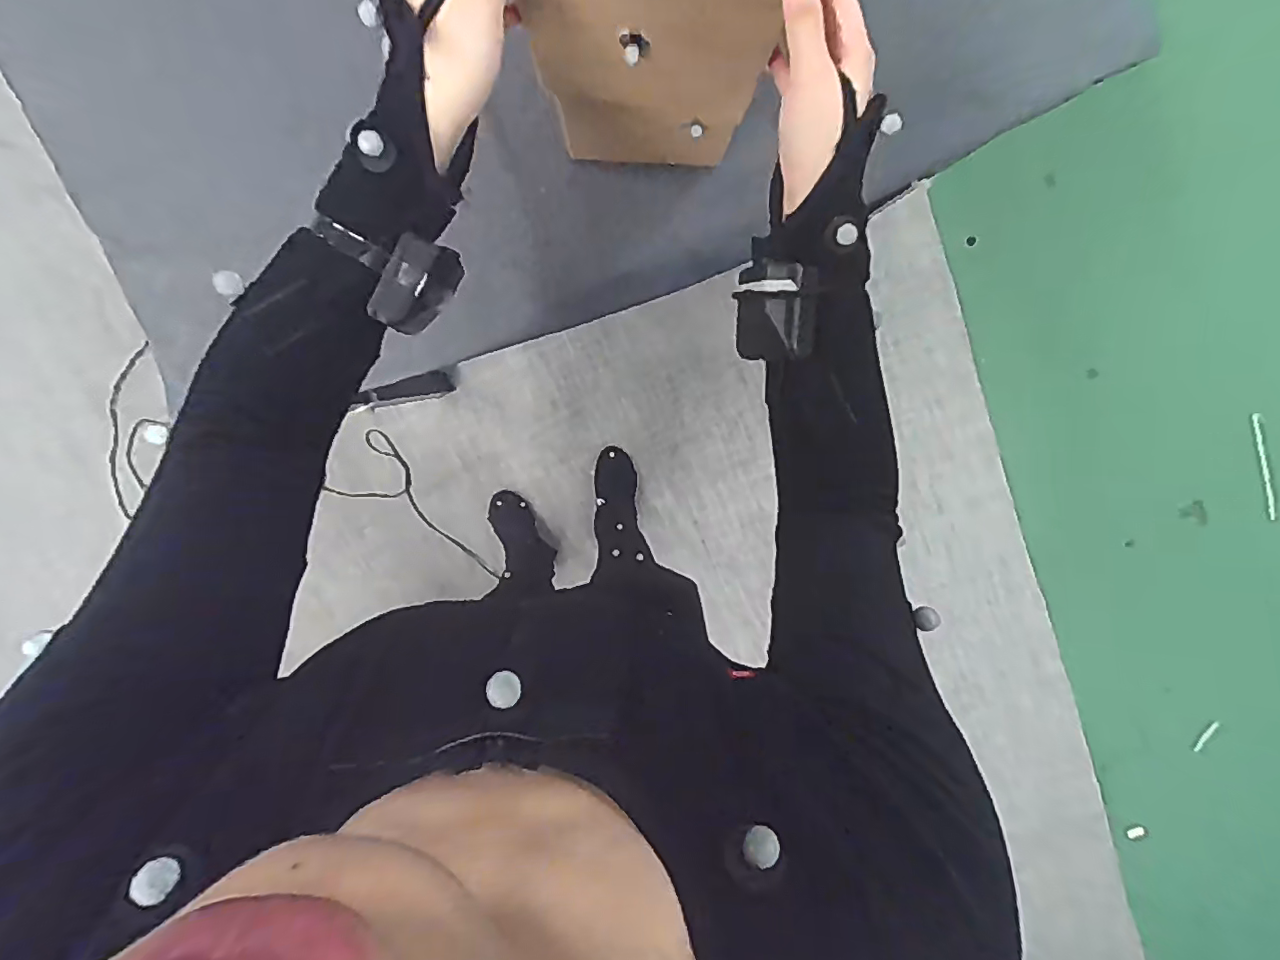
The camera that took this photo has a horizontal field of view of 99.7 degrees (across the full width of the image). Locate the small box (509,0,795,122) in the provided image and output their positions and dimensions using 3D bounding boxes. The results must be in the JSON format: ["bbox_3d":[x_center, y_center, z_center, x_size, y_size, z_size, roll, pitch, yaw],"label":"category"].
[{"bbox_3d":[0.012,-0.377,0.368,0.179,0.176,0.168,8,101,-3],"label":"small box"}]
